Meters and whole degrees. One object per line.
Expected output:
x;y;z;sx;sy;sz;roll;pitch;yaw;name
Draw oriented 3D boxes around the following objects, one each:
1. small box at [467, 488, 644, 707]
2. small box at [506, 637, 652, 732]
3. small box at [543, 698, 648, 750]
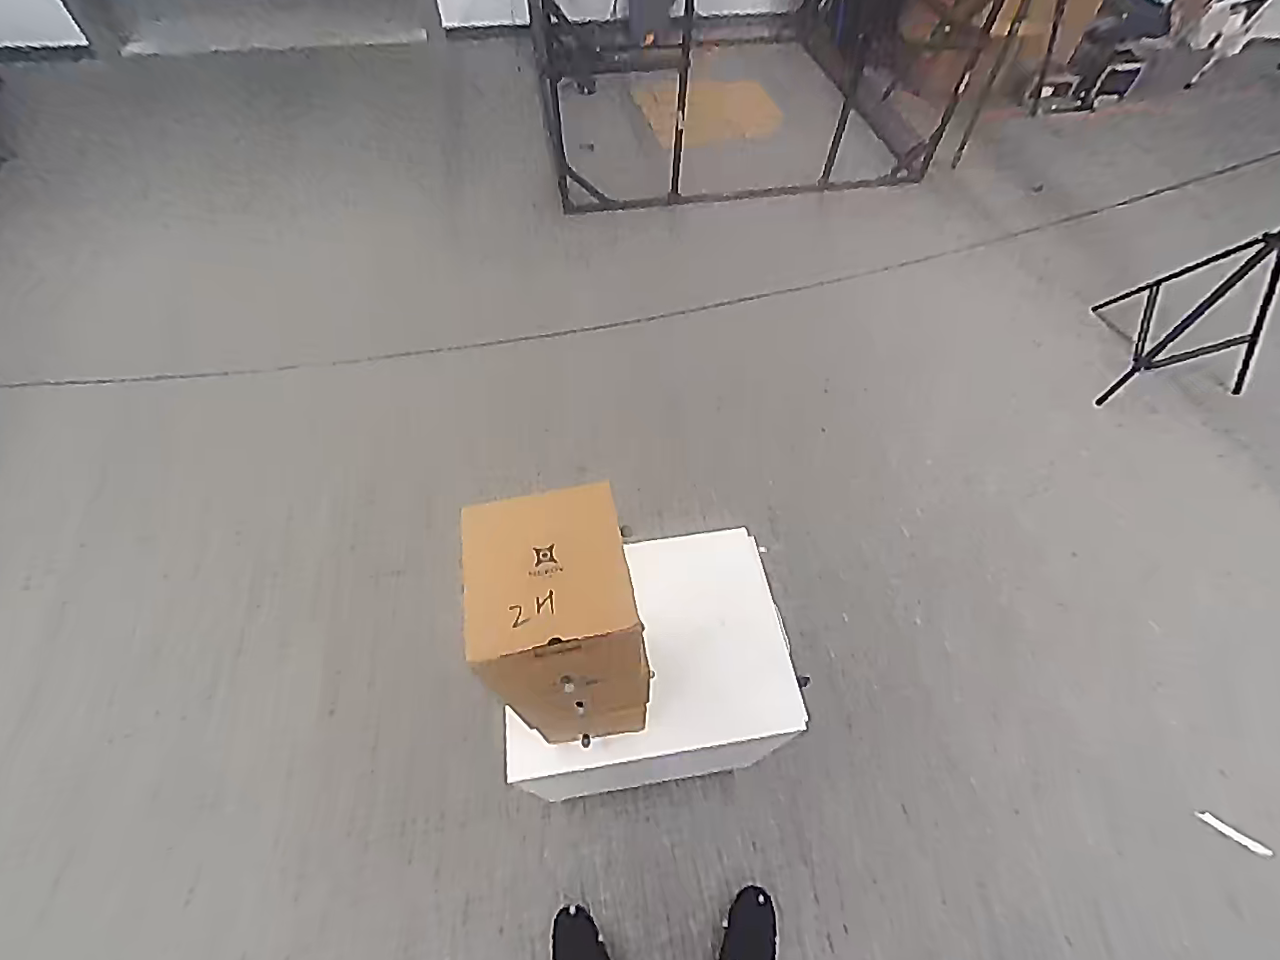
-0.093;0.136;0.615;0.168;0.176;0.179;-10;56;-6;small box
-0.086;0.233;0.748;0.179;0.176;0.168;-10;55;-6;small box
-0.082;0.324;0.884;0.168;0.176;0.179;-6;56;-5;small box
